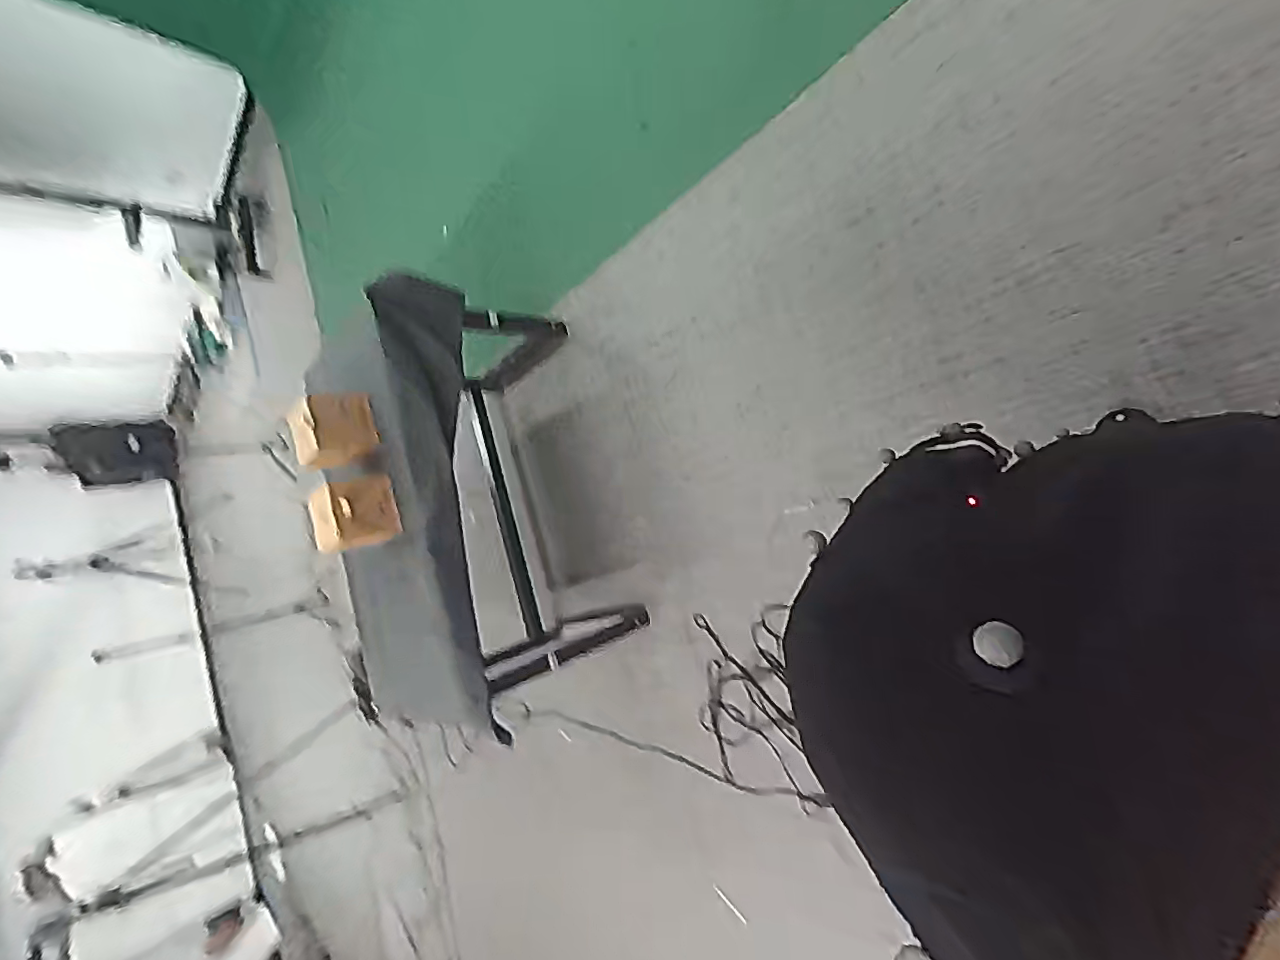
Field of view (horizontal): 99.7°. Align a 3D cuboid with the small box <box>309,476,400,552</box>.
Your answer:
[{"bbox_3d":[-0.799,0.094,1.516,0.179,0.176,0.168,-23,80,42],"label":"small box"}]

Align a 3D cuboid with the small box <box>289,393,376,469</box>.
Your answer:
[{"bbox_3d":[-0.878,-0.142,1.552,0.179,0.176,0.168,-27,77,43],"label":"small box"}]
